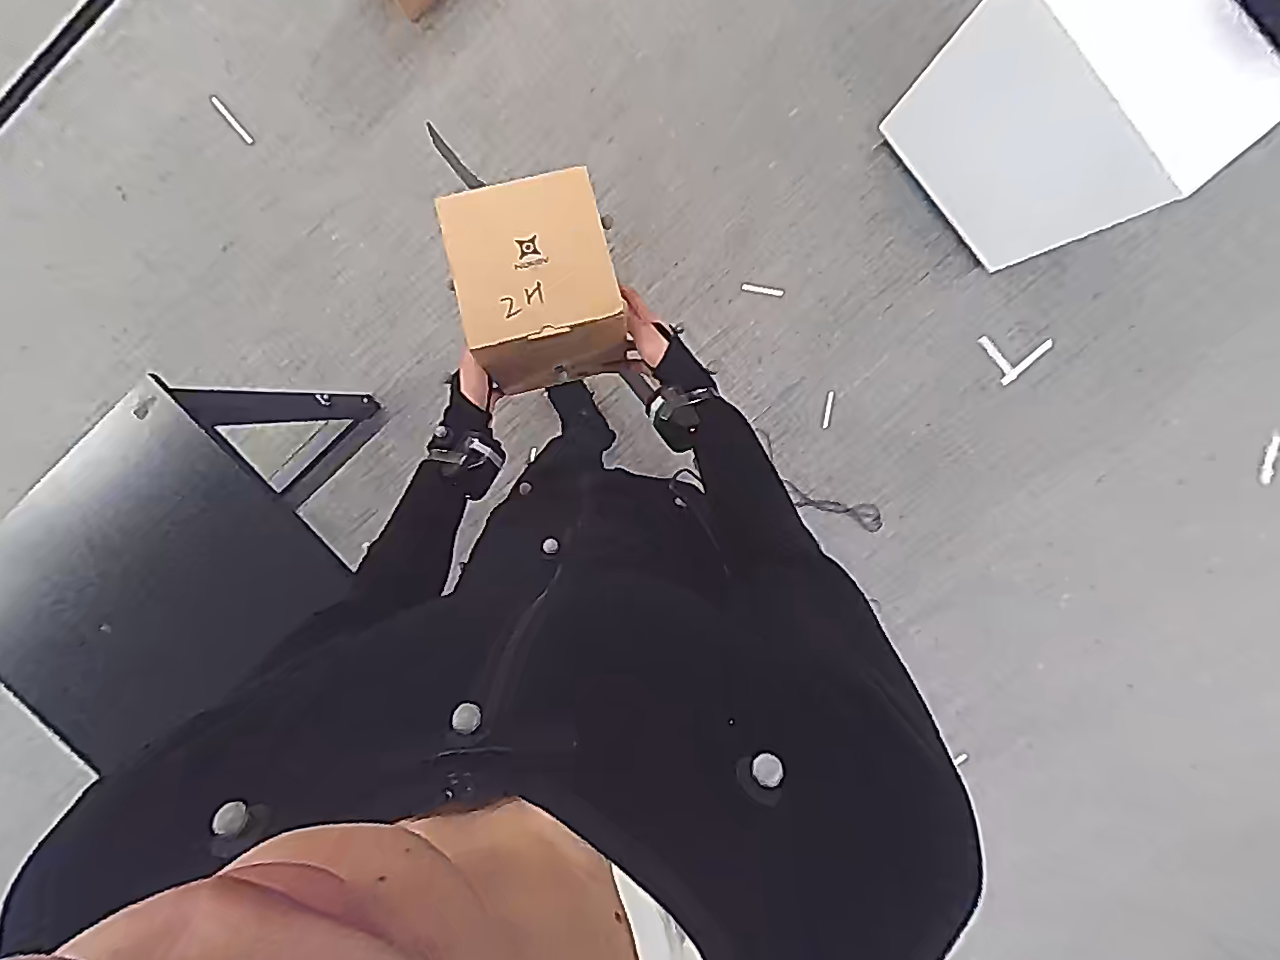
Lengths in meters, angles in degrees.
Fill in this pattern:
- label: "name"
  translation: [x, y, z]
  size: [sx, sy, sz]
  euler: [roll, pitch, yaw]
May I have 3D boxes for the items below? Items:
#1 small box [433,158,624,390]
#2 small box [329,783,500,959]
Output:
- label: "small box"
  translation: [-0.117, -0.225, 0.628]
  size: [0.168, 0.176, 0.179]
  euler: [-14, 83, -2]
- label: "small box"
  translation: [-0.351, 0.648, 0.887]
  size: [0.179, 0.176, 0.168]
  euler: [-36, 96, 4]
